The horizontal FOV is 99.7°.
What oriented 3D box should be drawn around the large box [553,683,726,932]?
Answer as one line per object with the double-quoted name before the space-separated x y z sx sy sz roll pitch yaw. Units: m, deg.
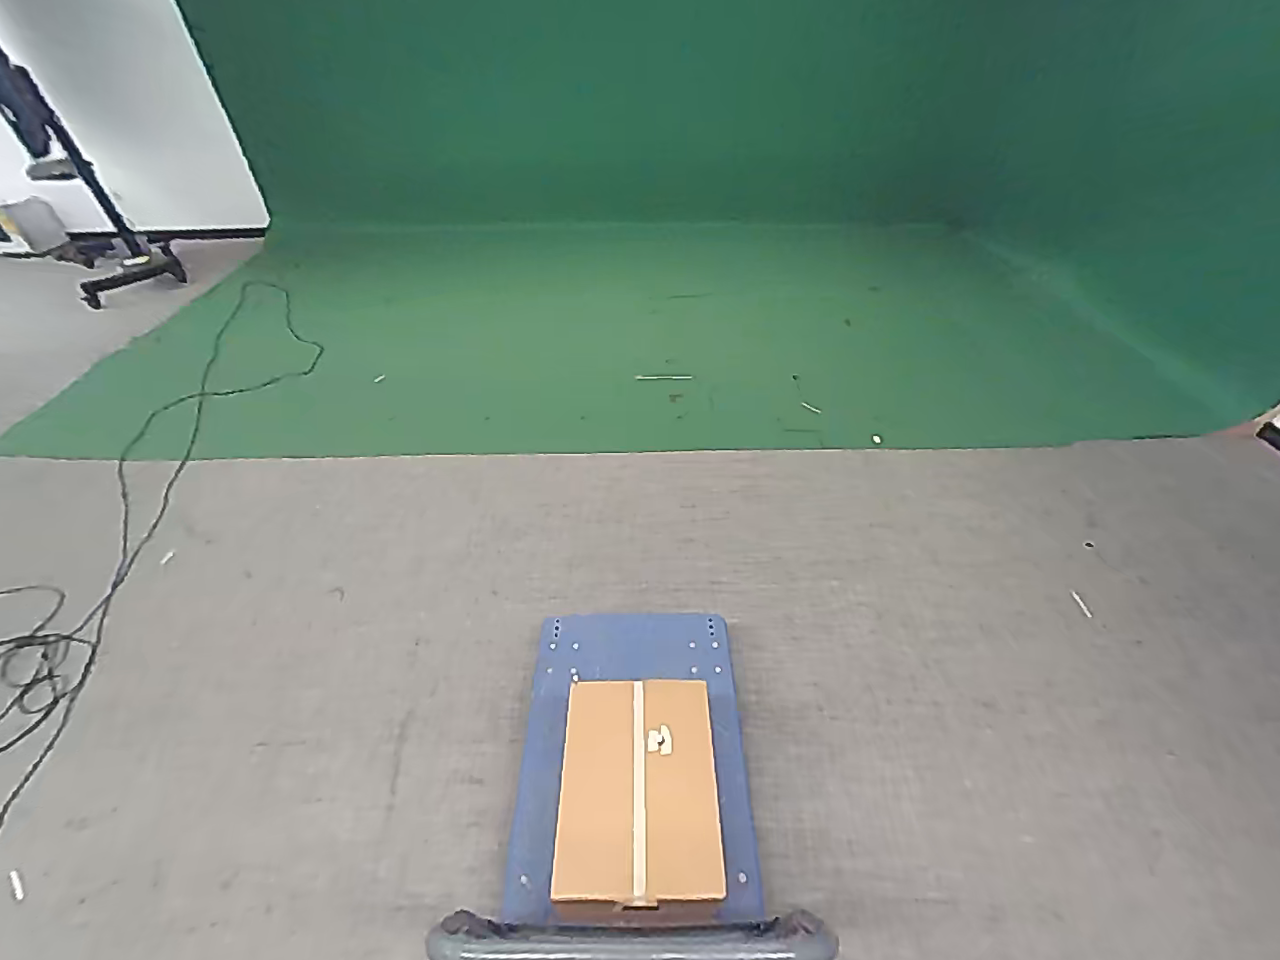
"large box" -0.001 0.713 1.193 0.320 0.320 0.408 0 42 0
